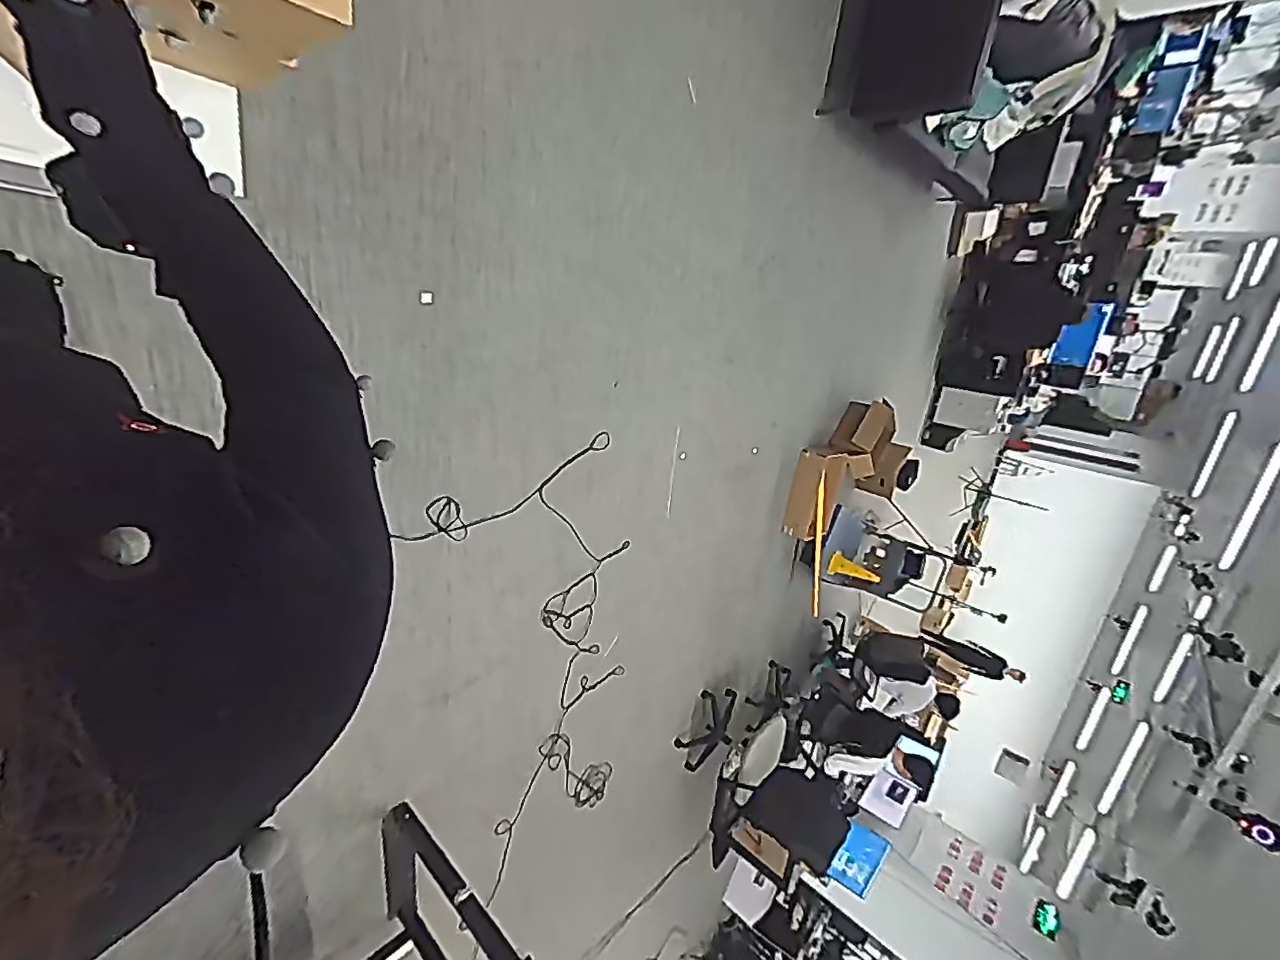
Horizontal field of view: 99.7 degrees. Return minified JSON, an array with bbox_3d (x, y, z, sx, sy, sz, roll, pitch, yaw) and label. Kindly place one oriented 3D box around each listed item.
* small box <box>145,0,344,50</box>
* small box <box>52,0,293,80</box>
[{"bbox_3d":[-0.363,-0.495,0.443,0.168,0.176,0.179,-13,117,-47],"label":"small box"},{"bbox_3d":[-0.481,-0.541,0.549,0.179,0.176,0.168,-10,115,-48],"label":"small box"}]
